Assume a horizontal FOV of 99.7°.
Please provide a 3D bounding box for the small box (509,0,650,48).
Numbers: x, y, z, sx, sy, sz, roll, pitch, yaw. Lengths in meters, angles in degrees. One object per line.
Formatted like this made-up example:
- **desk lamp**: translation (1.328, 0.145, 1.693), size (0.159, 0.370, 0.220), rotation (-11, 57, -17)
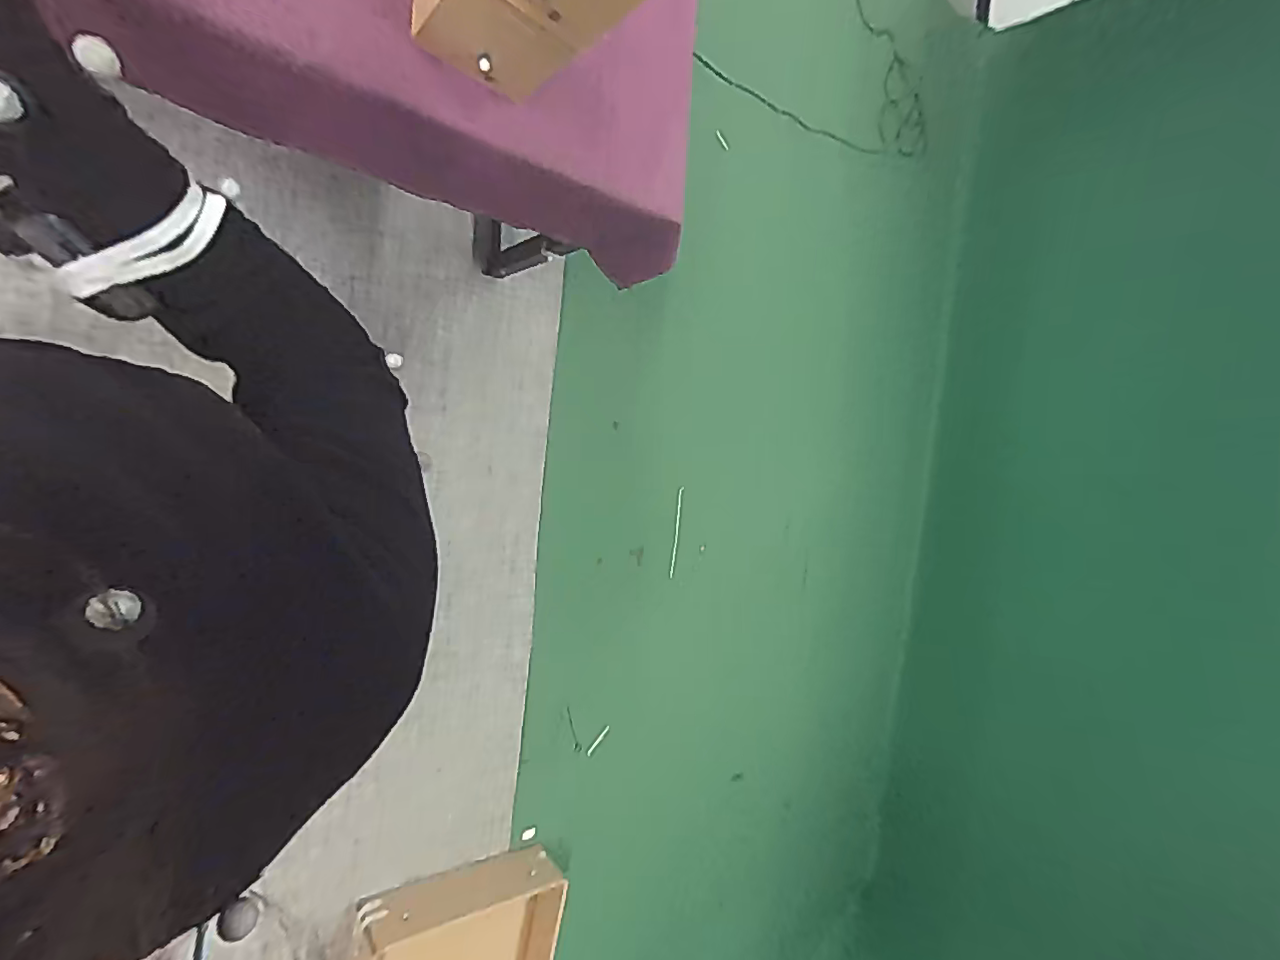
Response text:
- **small box**: translation (-0.071, -0.636, 0.587), size (0.168, 0.176, 0.179), rotation (2, 95, -42)

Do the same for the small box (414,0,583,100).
- **small box**: translation (-0.181, -0.653, 0.705), size (0.168, 0.176, 0.179), rotation (2, 94, -42)
